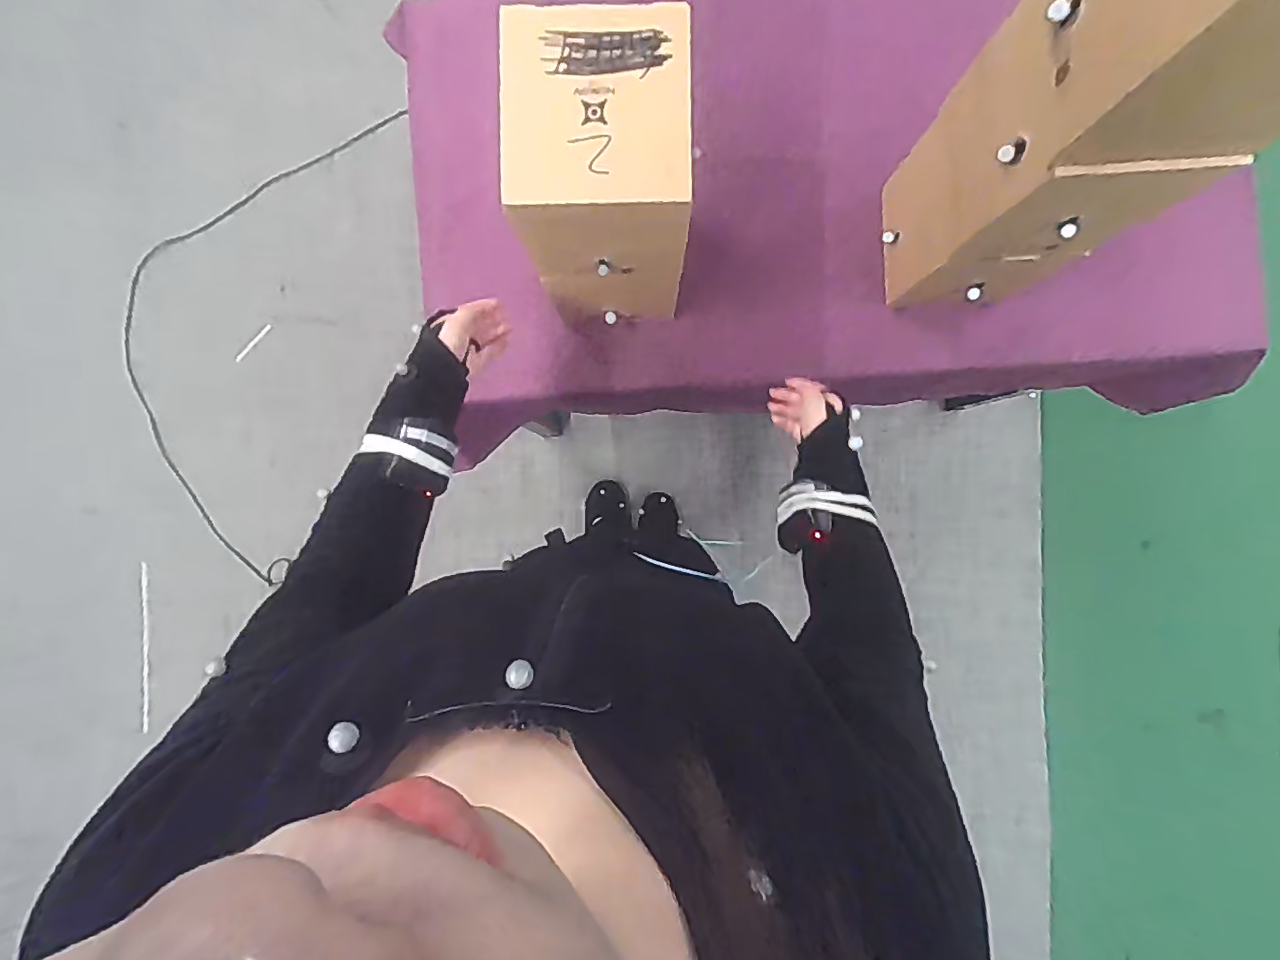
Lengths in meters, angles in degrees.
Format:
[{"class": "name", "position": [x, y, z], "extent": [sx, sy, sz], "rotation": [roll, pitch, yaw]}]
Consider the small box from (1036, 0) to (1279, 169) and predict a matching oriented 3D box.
[{"class": "small box", "position": [0.422, -0.345, 0.375], "extent": [0.179, 0.176, 0.168], "rotation": [-2, 88, 2]}]

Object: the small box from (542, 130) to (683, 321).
[{"class": "small box", "position": [-0.032, -0.320, 0.709], "extent": [0.168, 0.176, 0.179], "rotation": [0, 91, 1]}]

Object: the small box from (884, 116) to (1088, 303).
[{"class": "small box", "position": [0.434, -0.337, 0.703], "extent": [0.168, 0.176, 0.179], "rotation": [-2, 90, 0]}]

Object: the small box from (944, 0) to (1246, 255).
[{"class": "small box", "position": [0.429, -0.338, 0.538], "extent": [0.168, 0.176, 0.179], "rotation": [-2, 89, 0]}]
